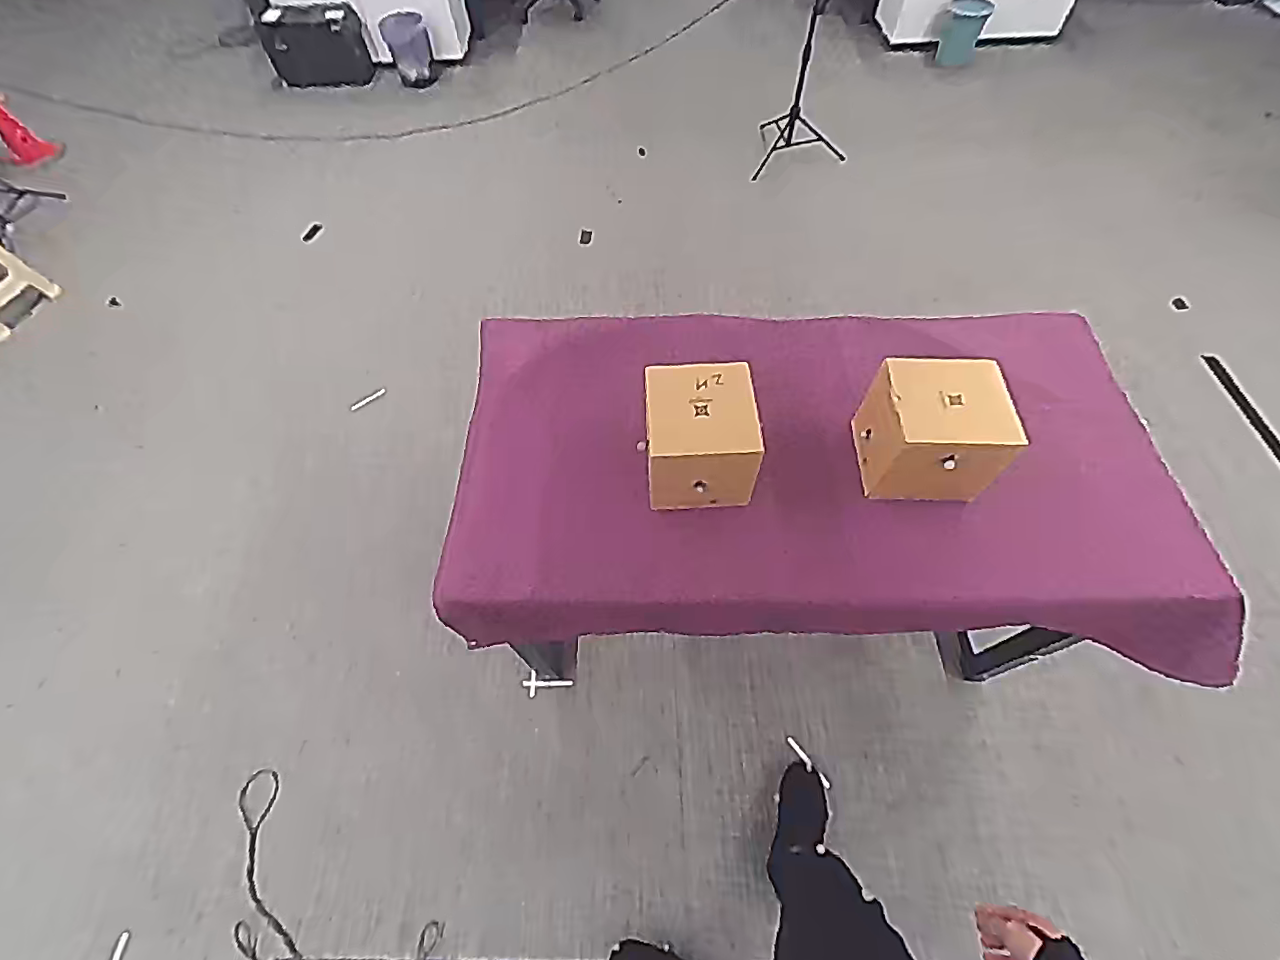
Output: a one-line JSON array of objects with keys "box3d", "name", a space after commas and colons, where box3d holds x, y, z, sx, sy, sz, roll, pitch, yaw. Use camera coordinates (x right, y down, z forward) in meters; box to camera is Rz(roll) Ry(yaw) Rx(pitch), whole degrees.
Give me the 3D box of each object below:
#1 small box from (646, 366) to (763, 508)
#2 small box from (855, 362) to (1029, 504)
[{"box3d": [0.096, -0.062, 0.880, 0.168, 0.176, 0.179, -2, 59, 0], "name": "small box"}, {"box3d": [0.471, -0.071, 0.875, 0.179, 0.176, 0.168, 1, 59, 3], "name": "small box"}]
